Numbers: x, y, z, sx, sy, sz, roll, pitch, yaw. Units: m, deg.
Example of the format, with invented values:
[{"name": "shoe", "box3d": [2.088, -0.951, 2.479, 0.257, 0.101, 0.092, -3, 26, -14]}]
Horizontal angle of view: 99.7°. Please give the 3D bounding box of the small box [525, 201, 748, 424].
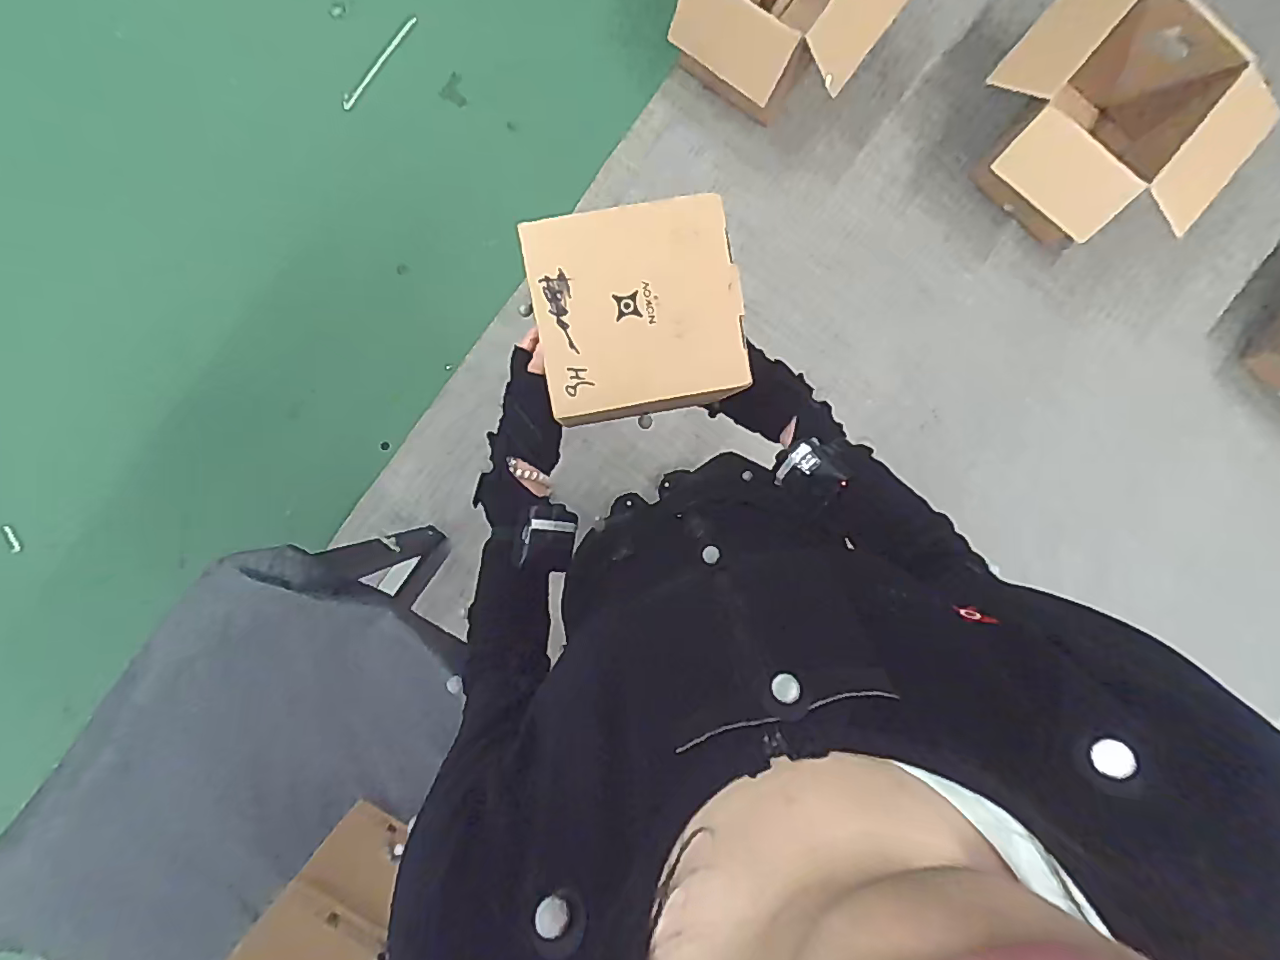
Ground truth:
[{"name": "small box", "box3d": [-0.008, -0.152, 0.542, 0.179, 0.176, 0.168, -9, 93, -4]}]
